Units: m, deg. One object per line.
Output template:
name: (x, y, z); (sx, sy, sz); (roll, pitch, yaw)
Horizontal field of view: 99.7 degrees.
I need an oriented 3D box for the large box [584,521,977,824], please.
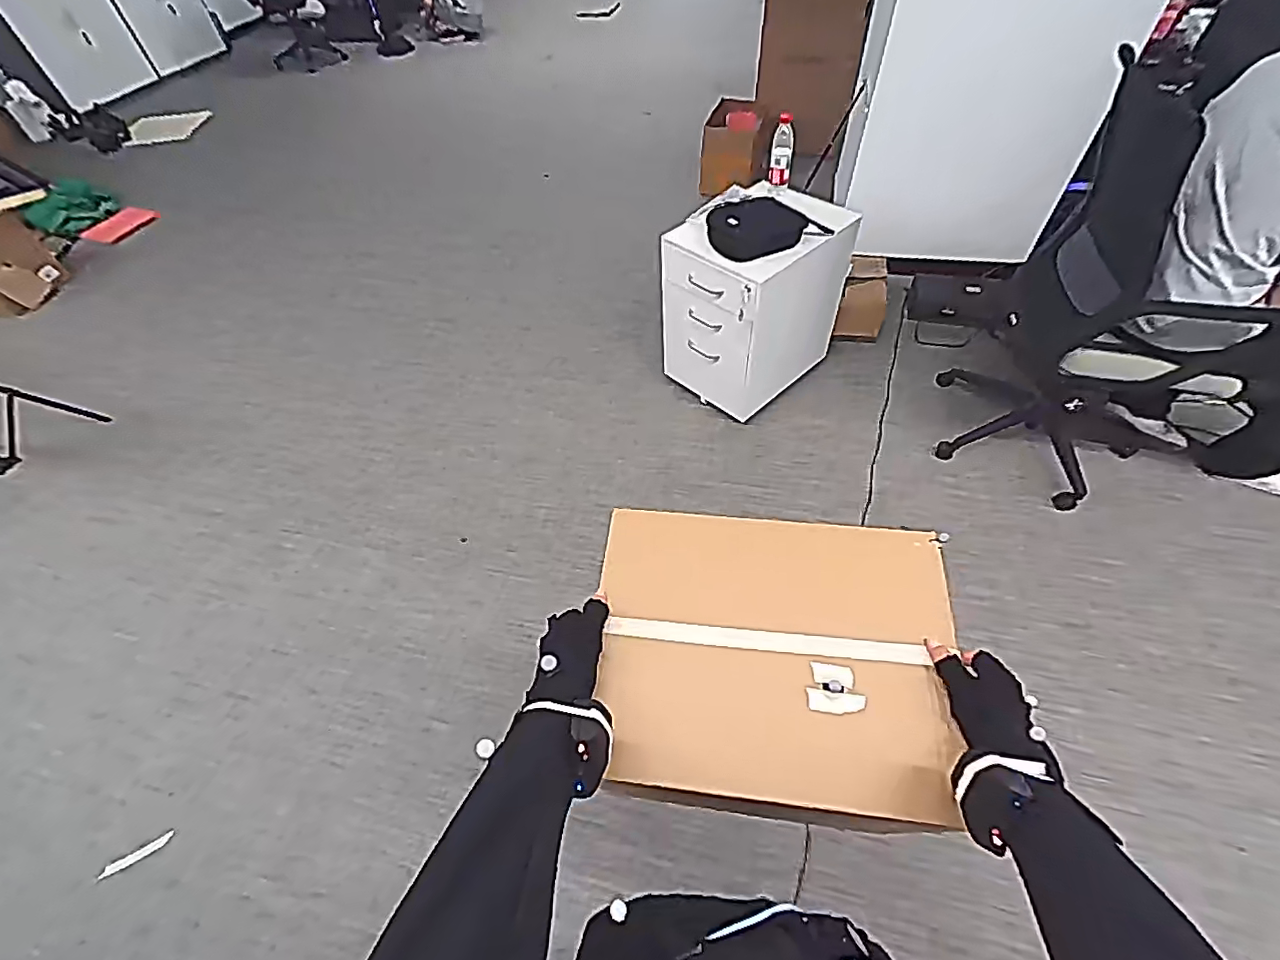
large box: (0.157, 0.274, 0.751); (0.408, 0.320, 0.320); (4, 58, 6)
